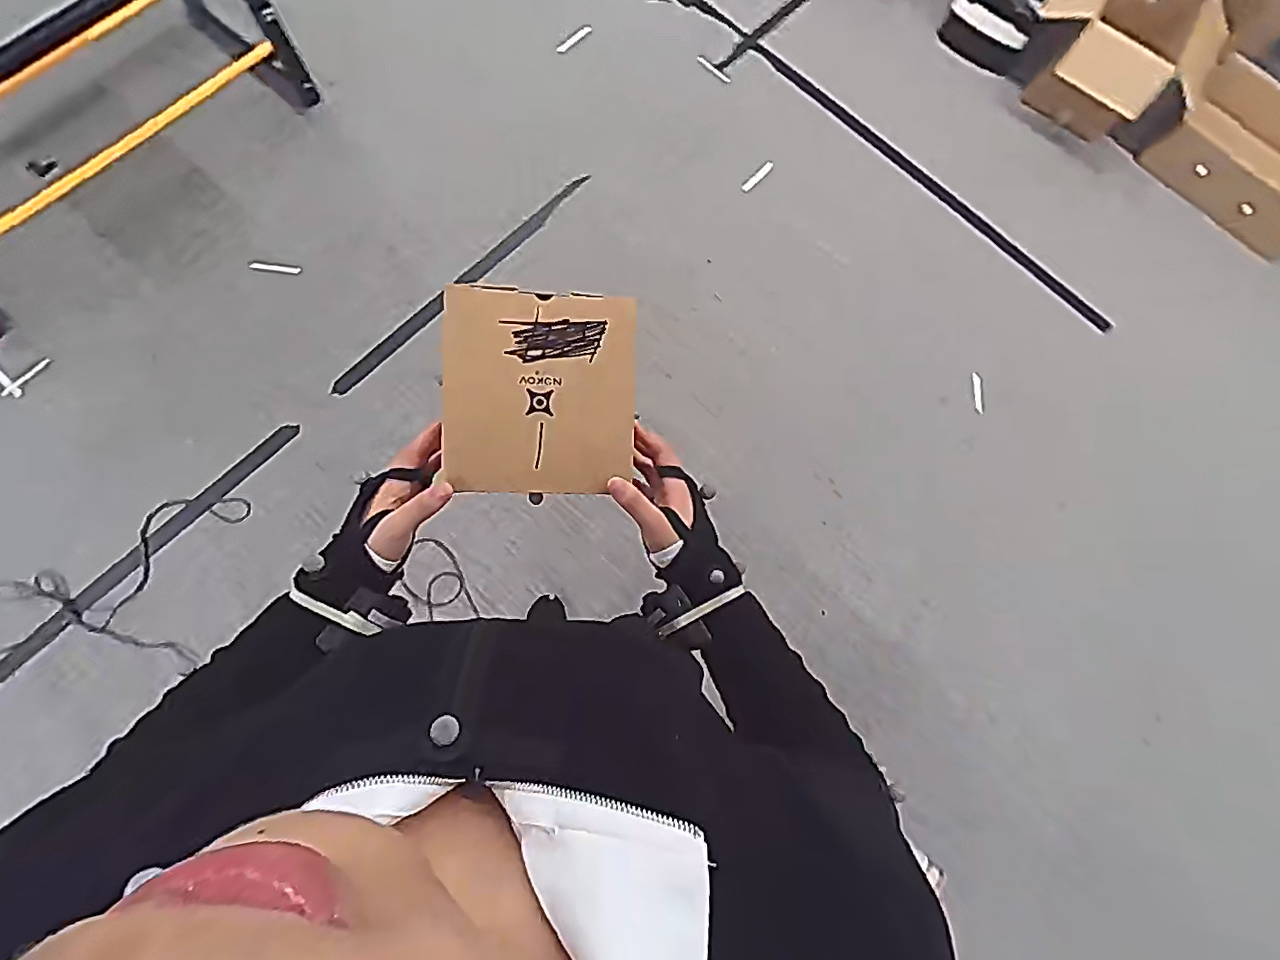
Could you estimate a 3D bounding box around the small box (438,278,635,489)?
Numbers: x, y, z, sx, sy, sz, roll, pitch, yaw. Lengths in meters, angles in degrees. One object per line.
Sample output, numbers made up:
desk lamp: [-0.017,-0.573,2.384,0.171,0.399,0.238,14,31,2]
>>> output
small box: [-0.099,-0.081,0.540,0.168,0.176,0.179,0,91,-8]
